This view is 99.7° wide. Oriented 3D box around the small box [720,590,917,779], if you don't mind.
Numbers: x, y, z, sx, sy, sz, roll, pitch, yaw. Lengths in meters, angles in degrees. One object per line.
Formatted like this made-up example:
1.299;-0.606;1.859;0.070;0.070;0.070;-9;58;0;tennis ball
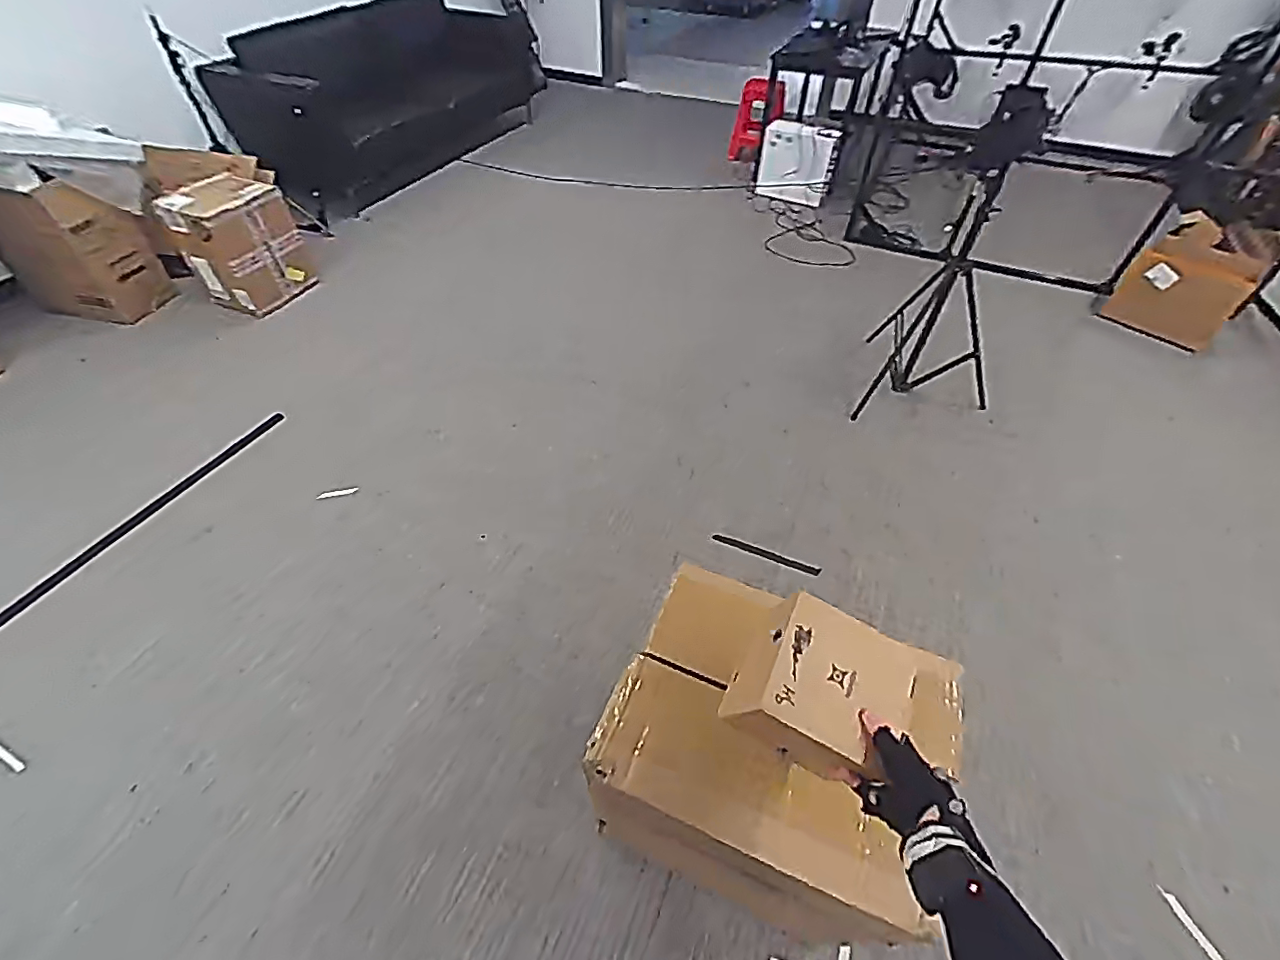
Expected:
0.234;0.279;0.735;0.179;0.176;0.168;27;60;4;small box
